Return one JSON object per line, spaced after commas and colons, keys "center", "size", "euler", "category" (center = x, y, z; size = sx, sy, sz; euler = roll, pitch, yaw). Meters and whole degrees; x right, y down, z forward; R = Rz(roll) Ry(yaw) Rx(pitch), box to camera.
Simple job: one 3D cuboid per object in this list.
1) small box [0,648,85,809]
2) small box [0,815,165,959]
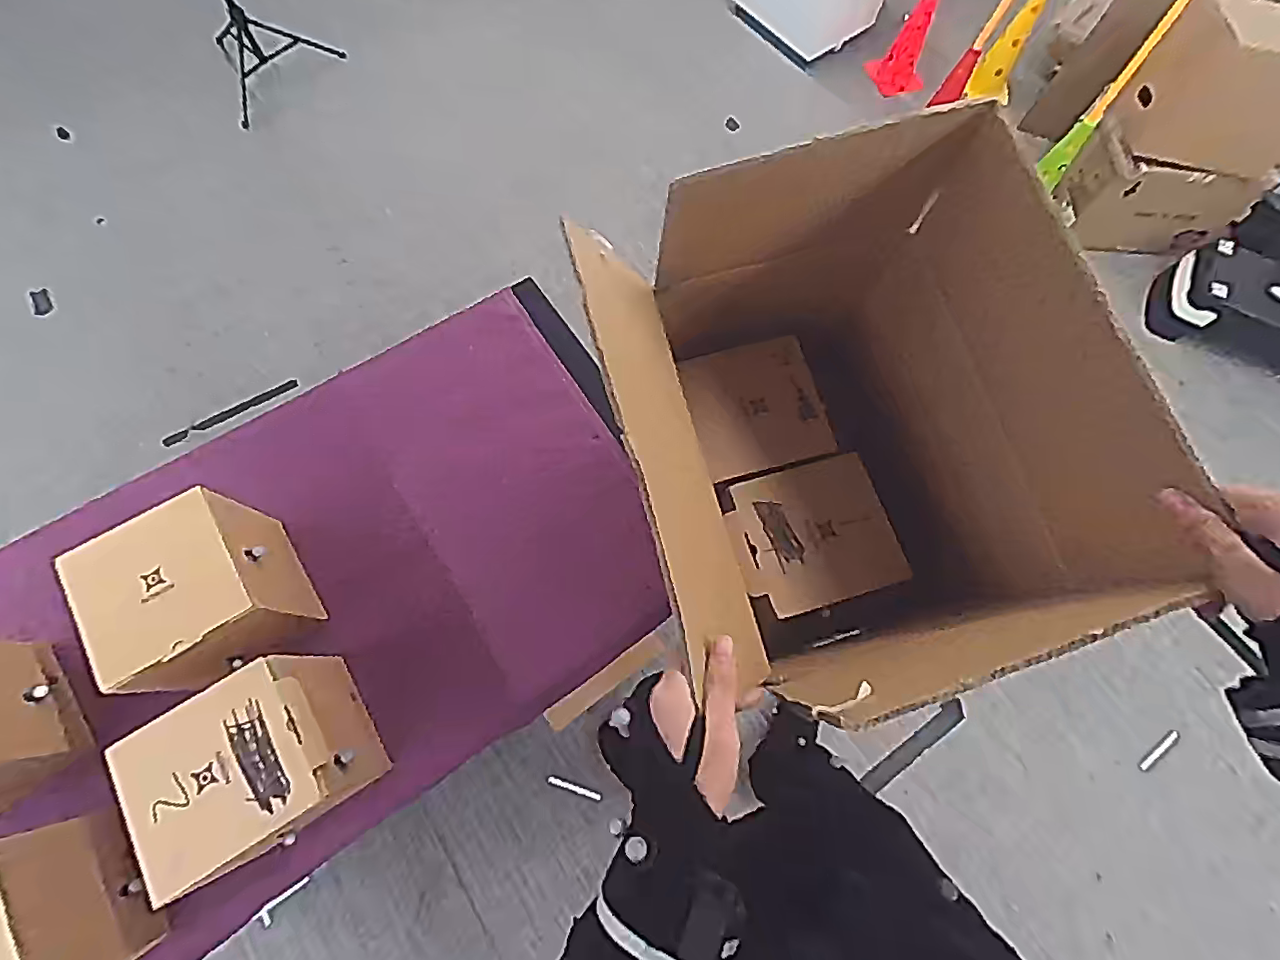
{"center": [-0.808, 0.307, 0.606], "size": [0.179, 0.176, 0.168], "euler": [-35, 77, -15], "category": "small box"}
{"center": [-0.657, 0.488, 0.551], "size": [0.179, 0.176, 0.168], "euler": [-33, 76, -14], "category": "small box"}
